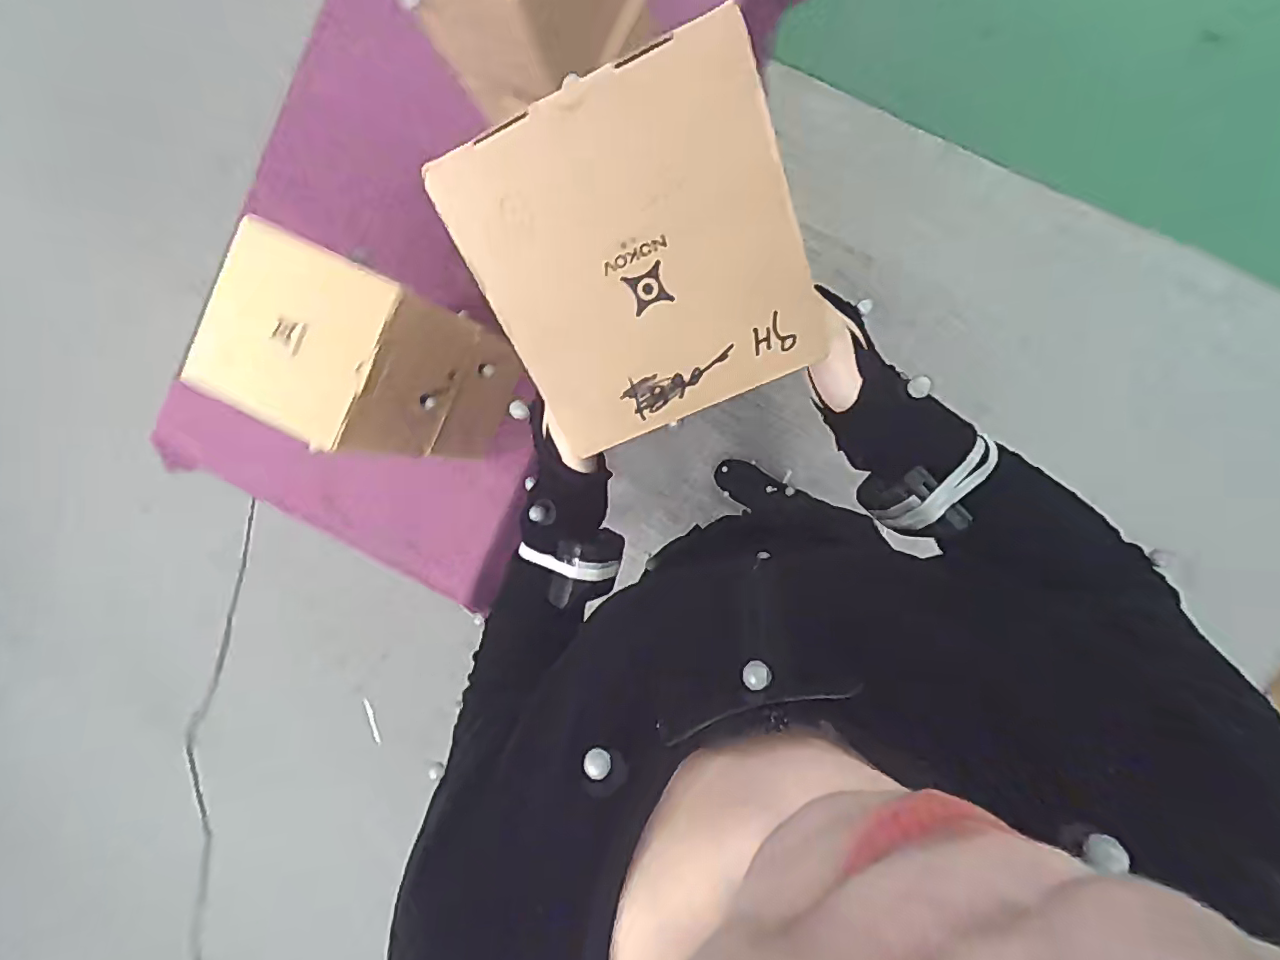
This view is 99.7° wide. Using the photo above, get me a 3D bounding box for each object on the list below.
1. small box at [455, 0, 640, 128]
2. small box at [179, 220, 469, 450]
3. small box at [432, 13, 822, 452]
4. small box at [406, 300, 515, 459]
[{"bbox_3d":[-0.102,-0.516,0.709,0.168,0.176,0.179,28,94,6],"label":"small box"},{"bbox_3d":[-0.320,-0.137,0.581,0.179,0.176,0.168,25,94,6],"label":"small box"},{"bbox_3d":[-0.001,-0.151,0.362,0.168,0.176,0.179,-20,117,10],"label":"small box"},{"bbox_3d":[-0.293,-0.140,0.742,0.168,0.176,0.179,25,94,7],"label":"small box"}]
